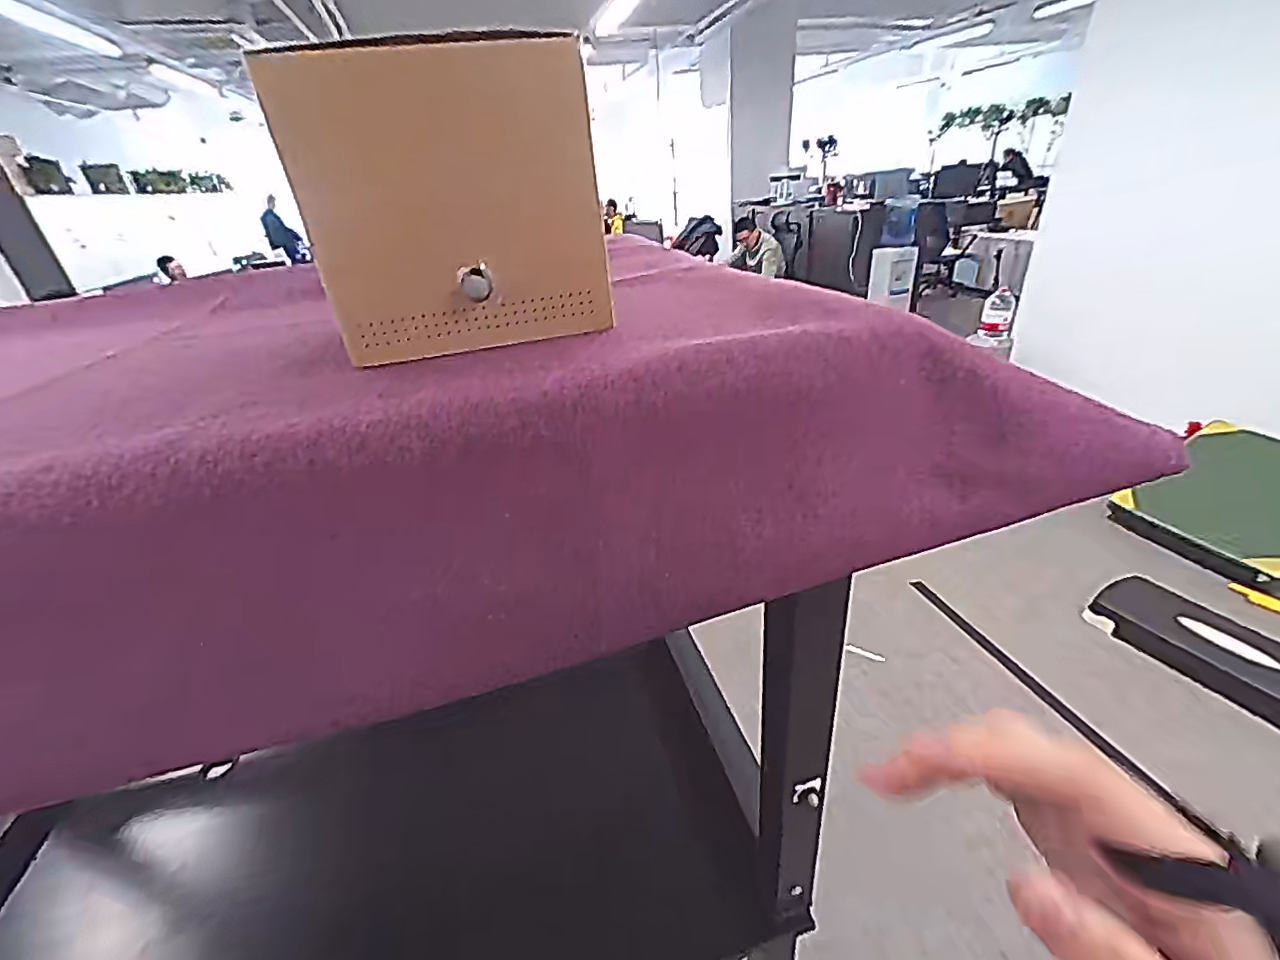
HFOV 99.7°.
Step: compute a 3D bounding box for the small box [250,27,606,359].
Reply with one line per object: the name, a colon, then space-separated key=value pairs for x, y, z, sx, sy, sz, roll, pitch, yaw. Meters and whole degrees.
small box: x=-0.125 y=-0.198 z=0.390 sx=0.179 sy=0.176 sz=0.168 roll=-11 pitch=29 yaw=-11
